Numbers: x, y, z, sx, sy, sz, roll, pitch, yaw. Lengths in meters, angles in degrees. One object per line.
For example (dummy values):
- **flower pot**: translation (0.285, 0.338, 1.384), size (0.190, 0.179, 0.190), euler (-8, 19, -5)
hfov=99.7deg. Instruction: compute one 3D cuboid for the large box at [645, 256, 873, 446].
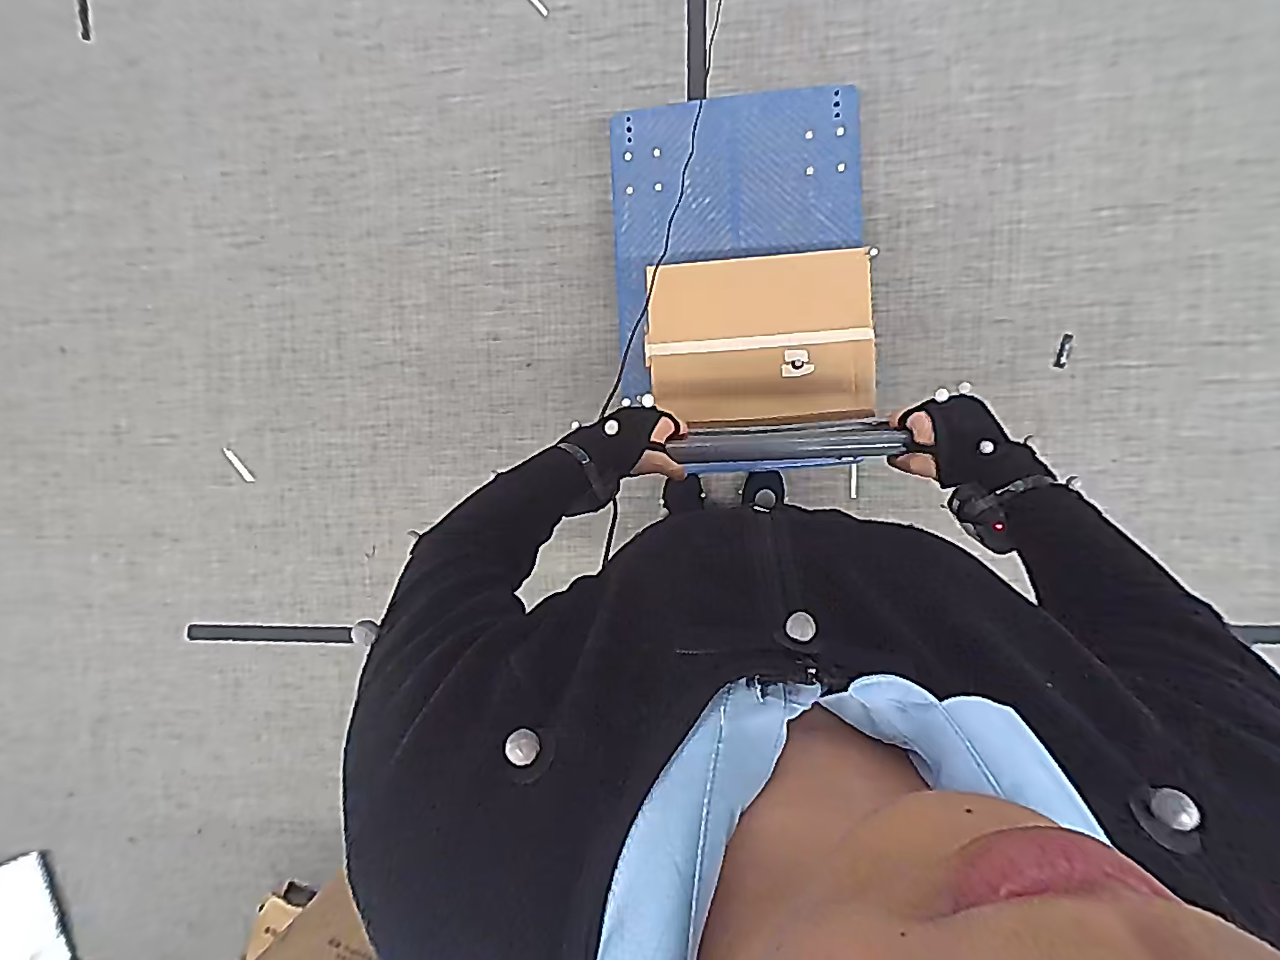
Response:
- **large box**: translation (0.230, -0.242, 1.140), size (0.408, 0.320, 0.320), euler (-3, 92, 6)
